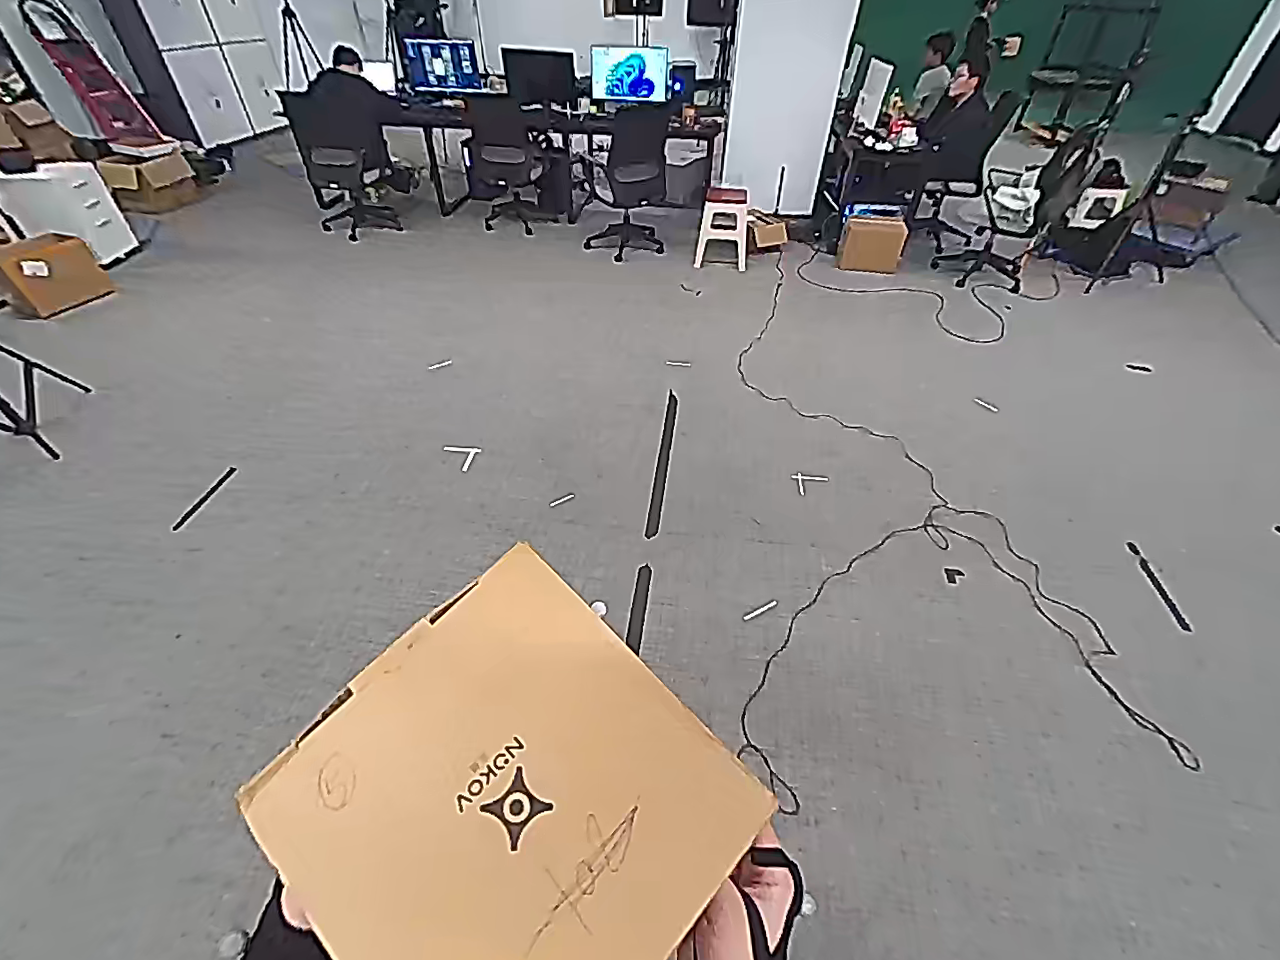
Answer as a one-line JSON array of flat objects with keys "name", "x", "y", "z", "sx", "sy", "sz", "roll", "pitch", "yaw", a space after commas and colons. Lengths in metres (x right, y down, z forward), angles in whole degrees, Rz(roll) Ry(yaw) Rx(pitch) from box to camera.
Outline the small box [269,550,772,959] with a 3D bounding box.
[{"name": "small box", "x": -0.058, "y": 0.176, "z": 0.323, "sx": 0.179, "sy": 0.176, "sz": 0.168, "roll": 42, "pitch": 71, "yaw": 14}]
